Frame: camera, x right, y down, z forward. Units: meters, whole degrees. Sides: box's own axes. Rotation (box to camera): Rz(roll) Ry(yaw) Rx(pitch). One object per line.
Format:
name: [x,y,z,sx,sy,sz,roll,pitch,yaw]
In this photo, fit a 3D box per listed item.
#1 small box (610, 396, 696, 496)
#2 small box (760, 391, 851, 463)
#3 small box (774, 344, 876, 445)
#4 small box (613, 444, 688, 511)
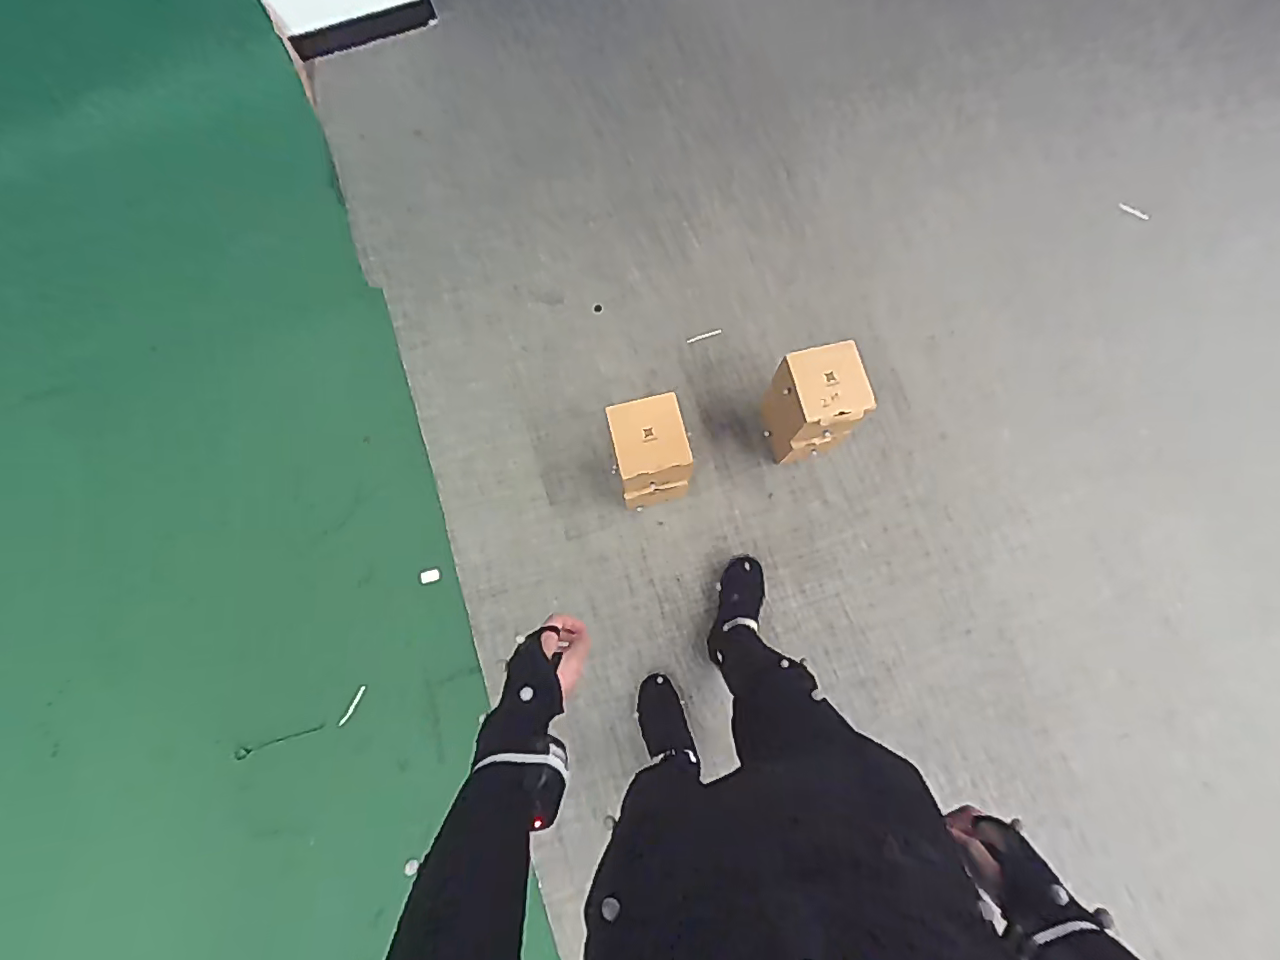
small box: [0.026,-0.076,1.294,0.168,0.176,0.179,-14,78,-3]
small box: [0.443,-0.156,1.473,0.168,0.176,0.179,-16,78,-3]
small box: [0.438,-0.202,1.315,0.168,0.176,0.179,-12,77,-1]
small box: [0.027,-0.021,1.465,0.168,0.176,0.179,-13,77,-3]
